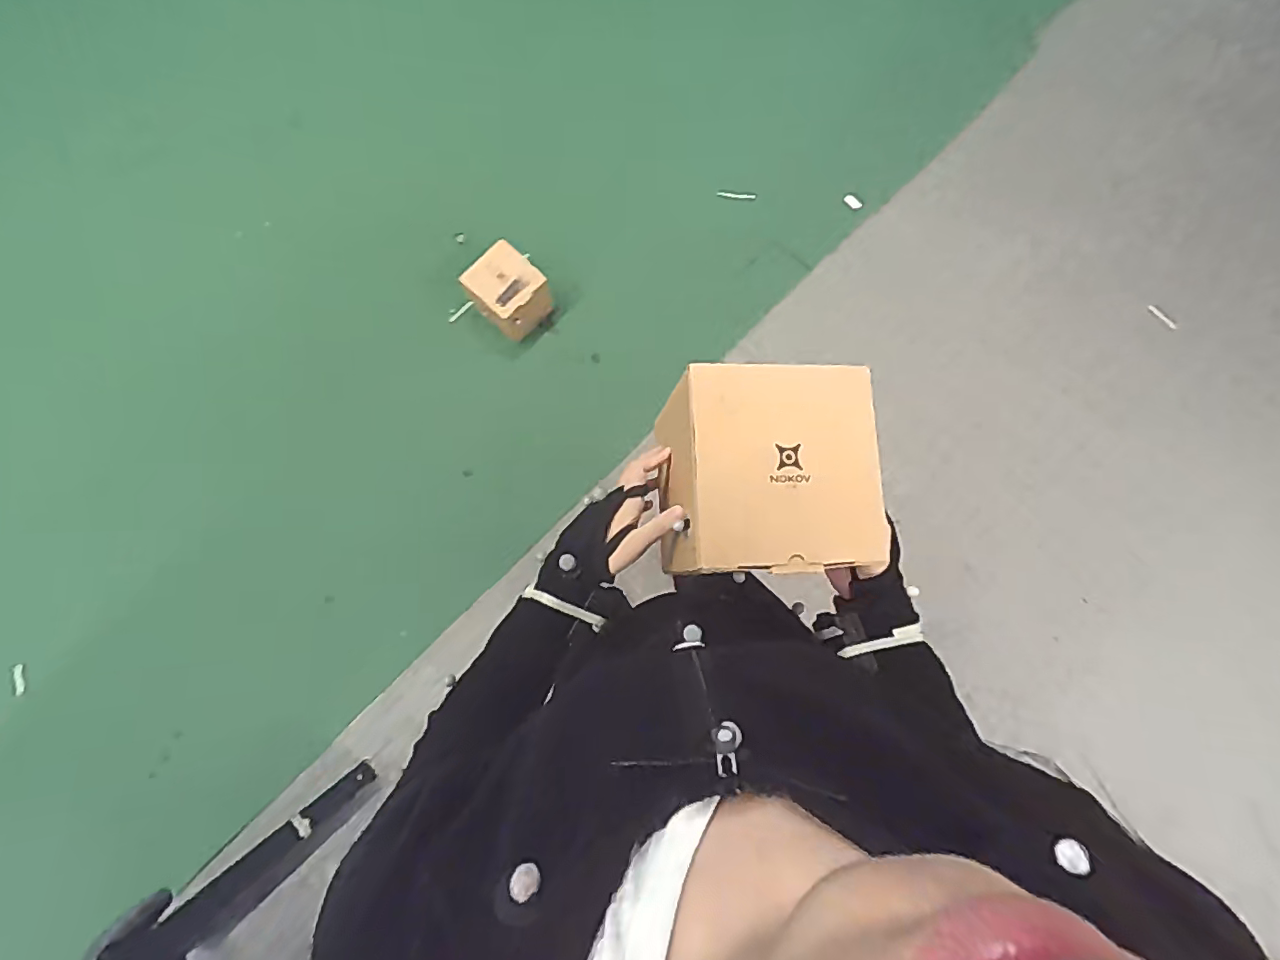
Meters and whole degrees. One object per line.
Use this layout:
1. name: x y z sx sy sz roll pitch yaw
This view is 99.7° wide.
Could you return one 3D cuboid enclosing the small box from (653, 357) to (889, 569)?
1. small box: 0.110 -0.005 0.526 0.168 0.176 0.179 -2 81 -9
